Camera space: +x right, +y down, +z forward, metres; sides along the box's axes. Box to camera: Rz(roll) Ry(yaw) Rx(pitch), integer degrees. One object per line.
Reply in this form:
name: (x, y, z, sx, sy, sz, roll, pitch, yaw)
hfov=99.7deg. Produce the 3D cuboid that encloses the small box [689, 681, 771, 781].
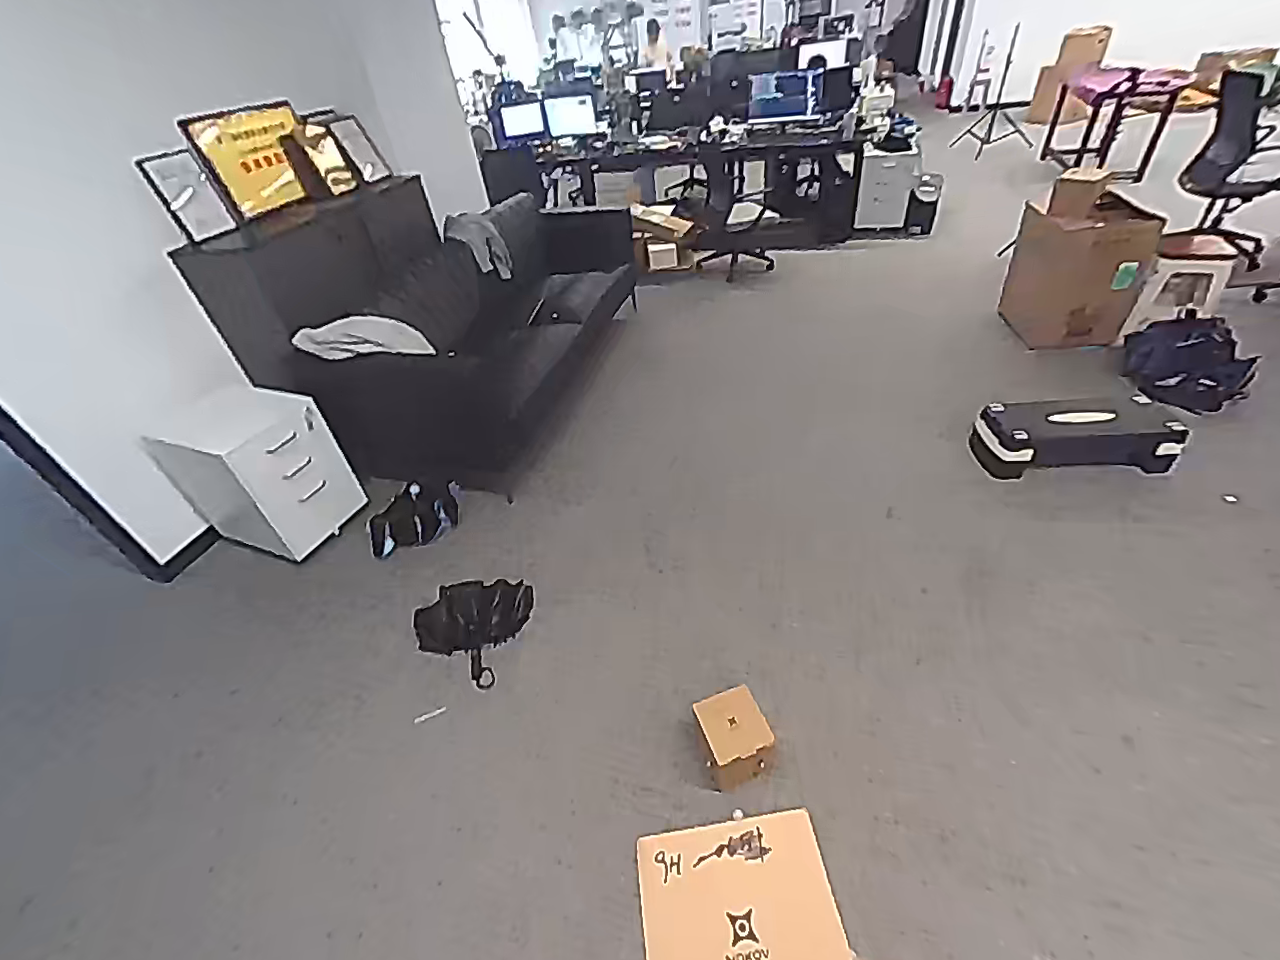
small box: (0.246, 0.697, 1.489, 0.168, 0.176, 0.179, -17, 39, -12)
